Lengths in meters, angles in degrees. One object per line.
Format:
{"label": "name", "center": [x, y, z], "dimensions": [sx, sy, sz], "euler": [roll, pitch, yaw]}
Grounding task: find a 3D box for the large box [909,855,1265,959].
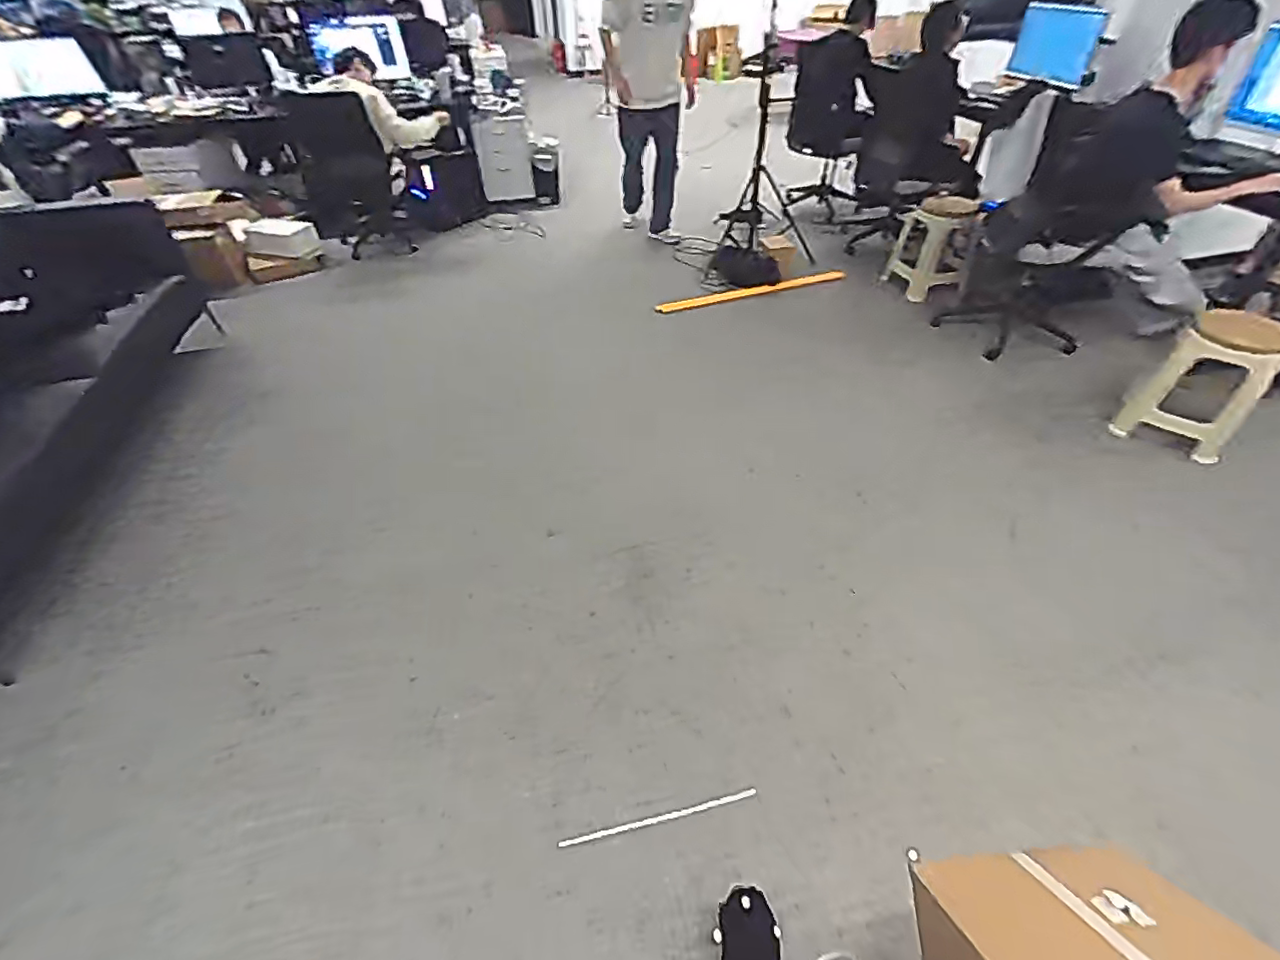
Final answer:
{"label": "large box", "center": [0.570, 0.705, 0.602], "dimensions": [0.320, 0.408, 0.320], "euler": [-4, 83, 0]}
